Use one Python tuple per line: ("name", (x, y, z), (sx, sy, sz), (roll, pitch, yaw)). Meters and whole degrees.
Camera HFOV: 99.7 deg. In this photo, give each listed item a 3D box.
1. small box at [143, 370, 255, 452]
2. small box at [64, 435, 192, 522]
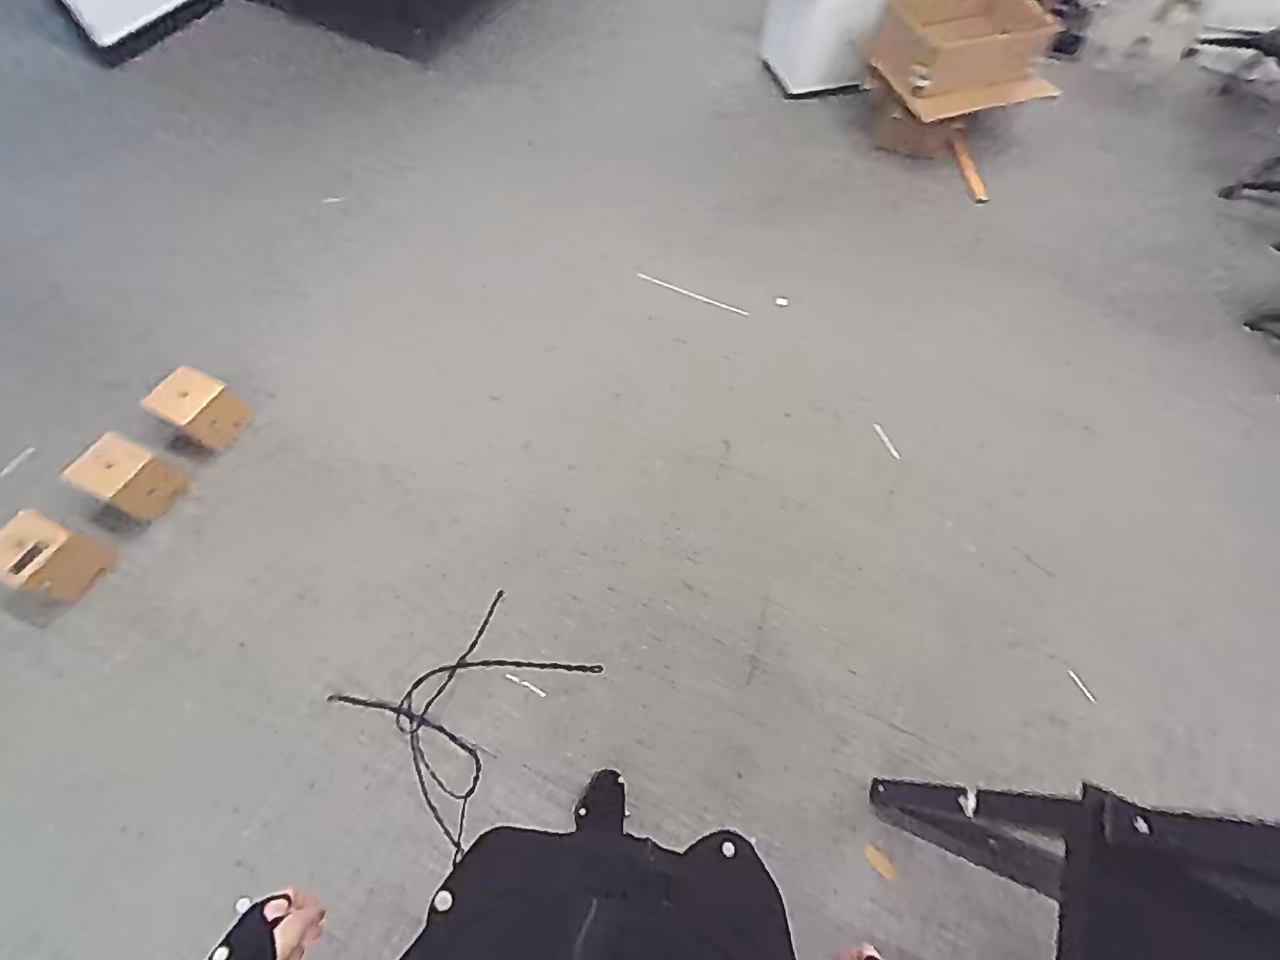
("small box", (-1.374, -0.210, 1.702), (0.179, 0.176, 0.168), (24, 65, 10))
("small box", (-1.486, 0.004, 1.586), (0.179, 0.176, 0.168), (24, 64, 9))
